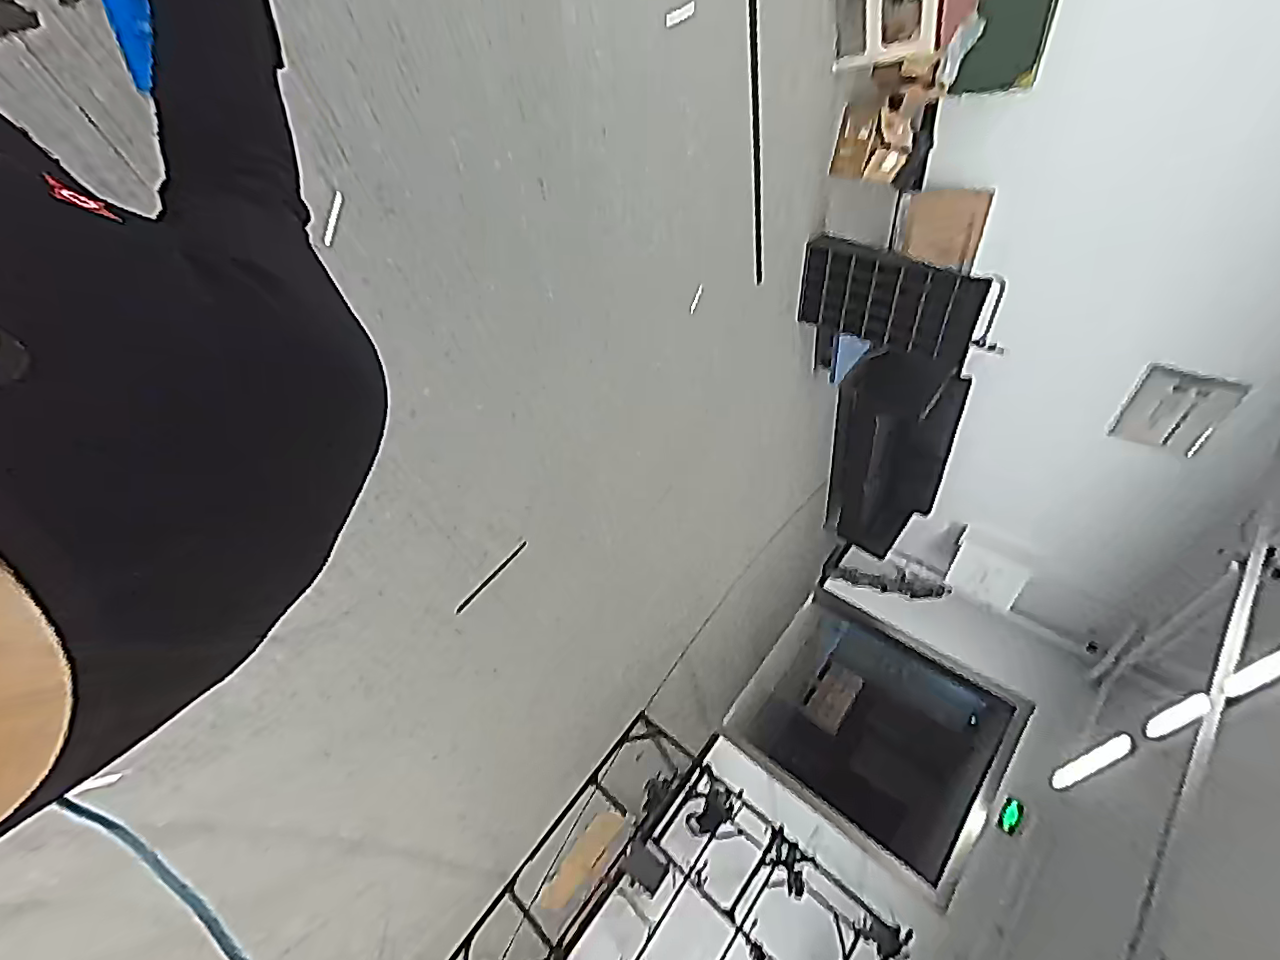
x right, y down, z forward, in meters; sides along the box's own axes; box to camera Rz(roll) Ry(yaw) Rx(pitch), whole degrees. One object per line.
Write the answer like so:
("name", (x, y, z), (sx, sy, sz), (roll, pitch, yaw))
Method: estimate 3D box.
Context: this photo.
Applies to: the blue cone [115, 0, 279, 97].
("blue cone", (-0.713, -0.758, 0.912), (0.192, 0.380, 0.193), (-29, 137, -40))
